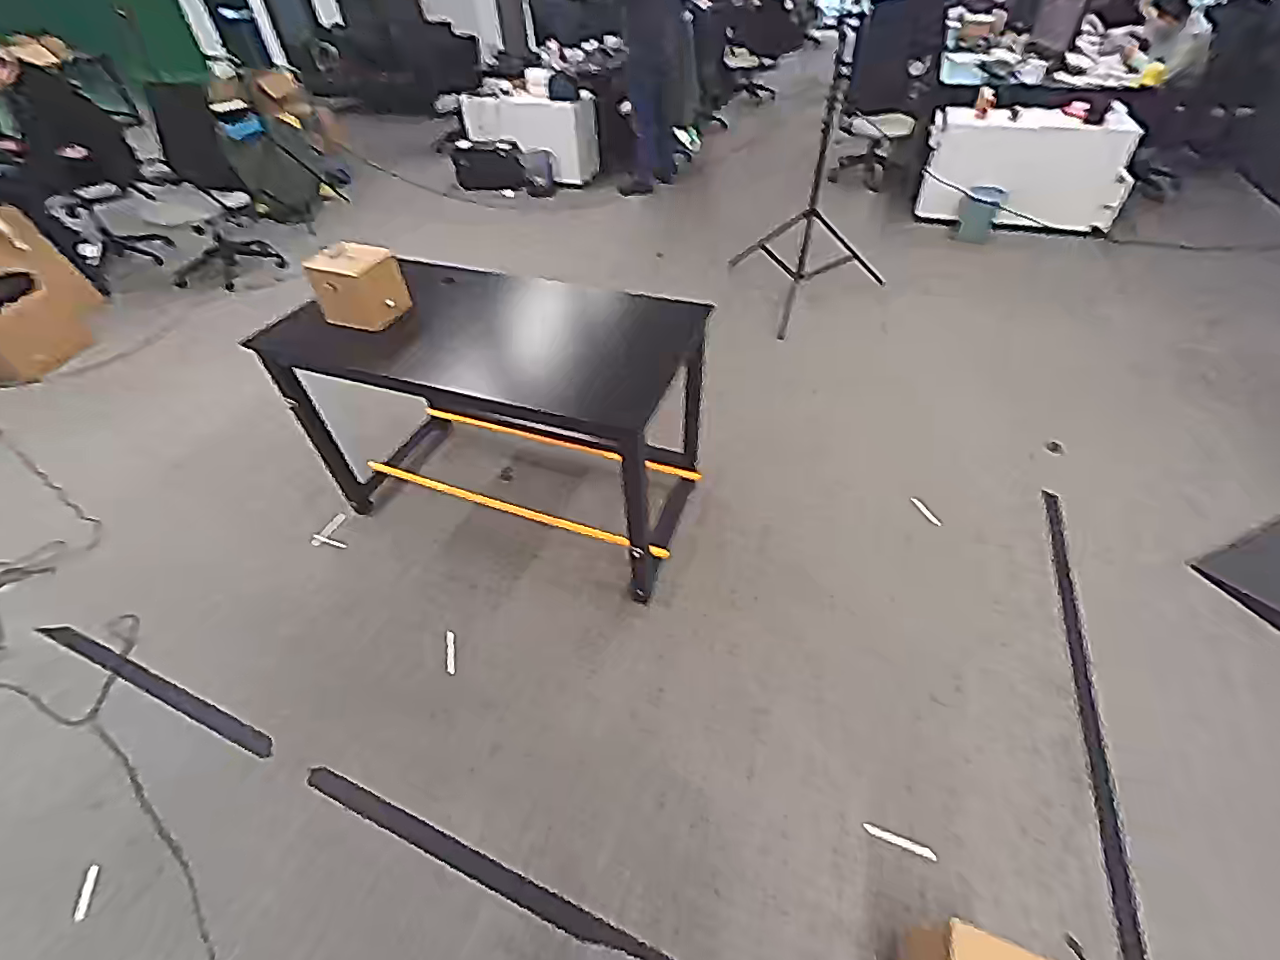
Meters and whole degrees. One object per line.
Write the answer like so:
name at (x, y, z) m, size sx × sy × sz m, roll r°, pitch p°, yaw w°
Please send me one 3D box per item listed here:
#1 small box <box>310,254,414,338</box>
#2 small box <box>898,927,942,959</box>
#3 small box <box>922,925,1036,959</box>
small box at (-0.794, -0.530, 1.560) m, size 0.179 × 0.176 × 0.168 m, roll 13°, pitch 47°, yaw 14°
small box at (0.580, 0.977, 0.997) m, size 0.168 × 0.176 × 0.179 m, roll 16°, pitch 48°, yaw 18°
small box at (0.574, 0.868, 0.876) m, size 0.179 × 0.176 × 0.168 m, roll 14°, pitch 46°, yaw 18°
